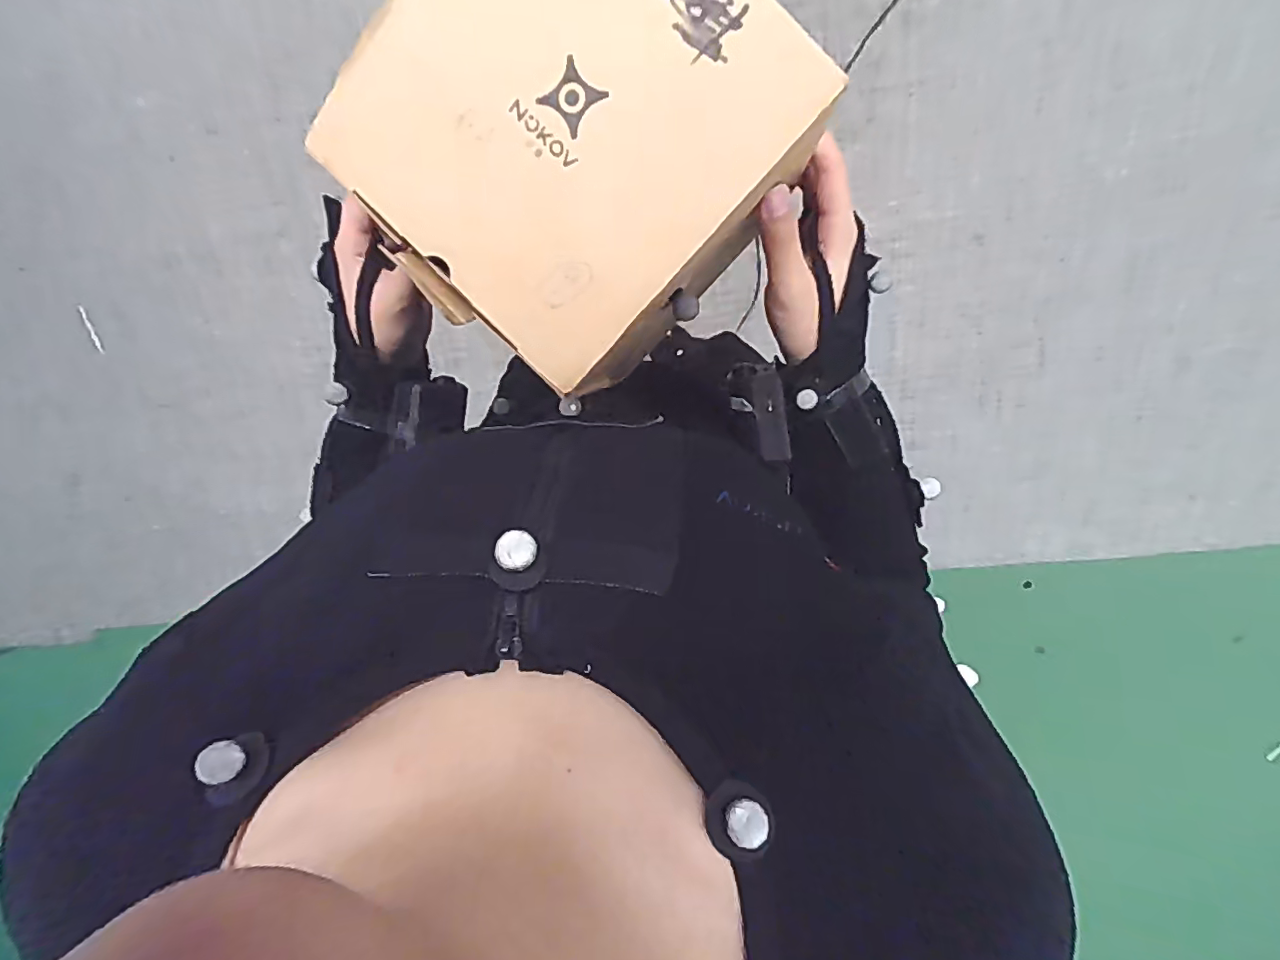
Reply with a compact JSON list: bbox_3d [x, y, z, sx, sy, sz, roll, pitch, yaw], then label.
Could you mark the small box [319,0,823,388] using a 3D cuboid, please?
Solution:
[{"bbox_3d":[-0.027,-0.174,0.316,0.168,0.176,0.179,44,104,-4],"label":"small box"}]
